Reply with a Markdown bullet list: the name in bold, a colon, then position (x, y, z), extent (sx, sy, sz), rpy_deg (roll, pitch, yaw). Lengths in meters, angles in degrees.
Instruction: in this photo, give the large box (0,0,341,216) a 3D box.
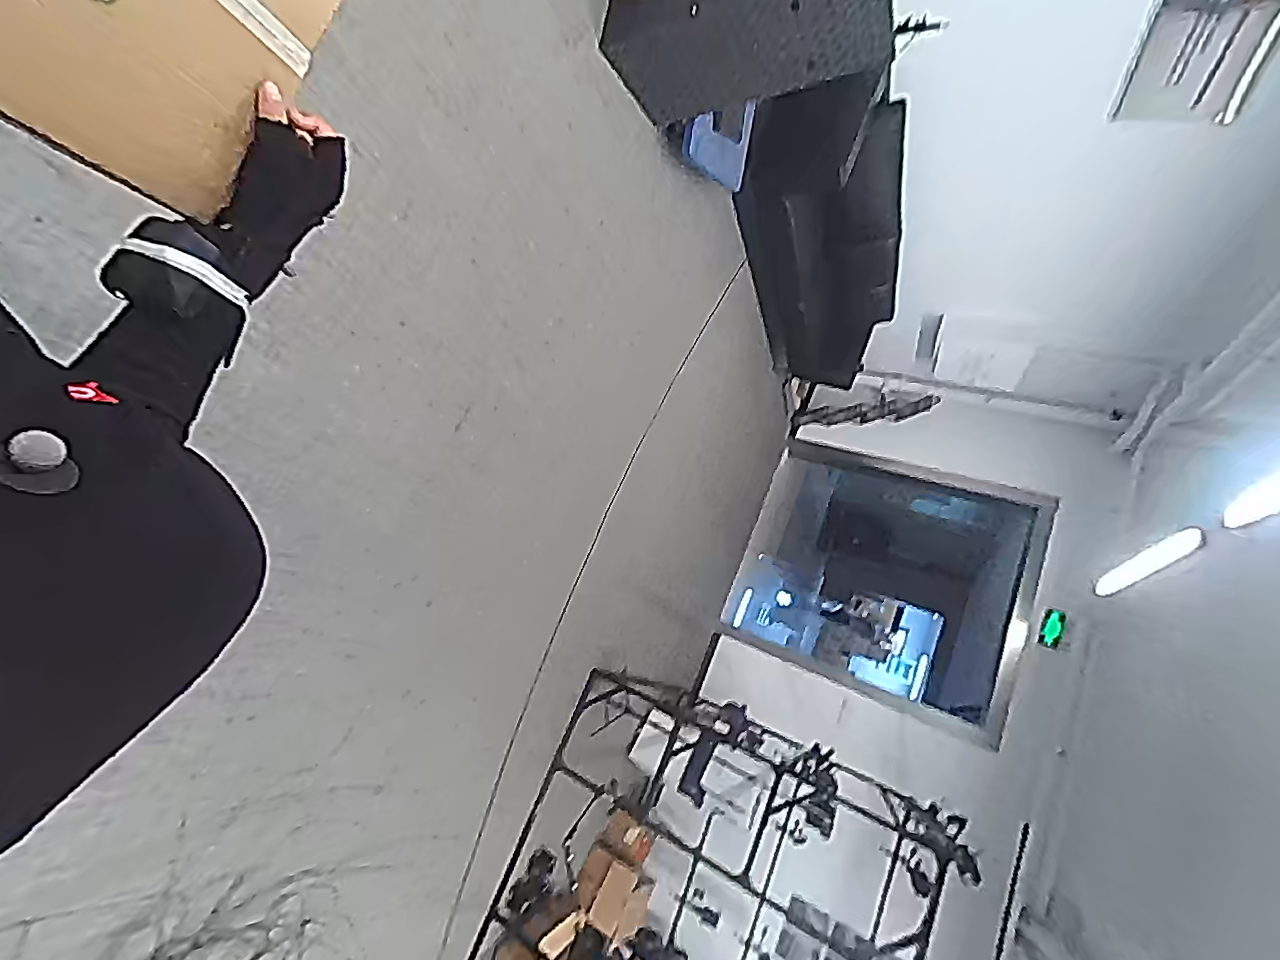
- **large box**: position (-0.480, -0.457, 0.346), extent (0.320, 0.320, 0.408), rpy_deg (-60, 153, 0)
